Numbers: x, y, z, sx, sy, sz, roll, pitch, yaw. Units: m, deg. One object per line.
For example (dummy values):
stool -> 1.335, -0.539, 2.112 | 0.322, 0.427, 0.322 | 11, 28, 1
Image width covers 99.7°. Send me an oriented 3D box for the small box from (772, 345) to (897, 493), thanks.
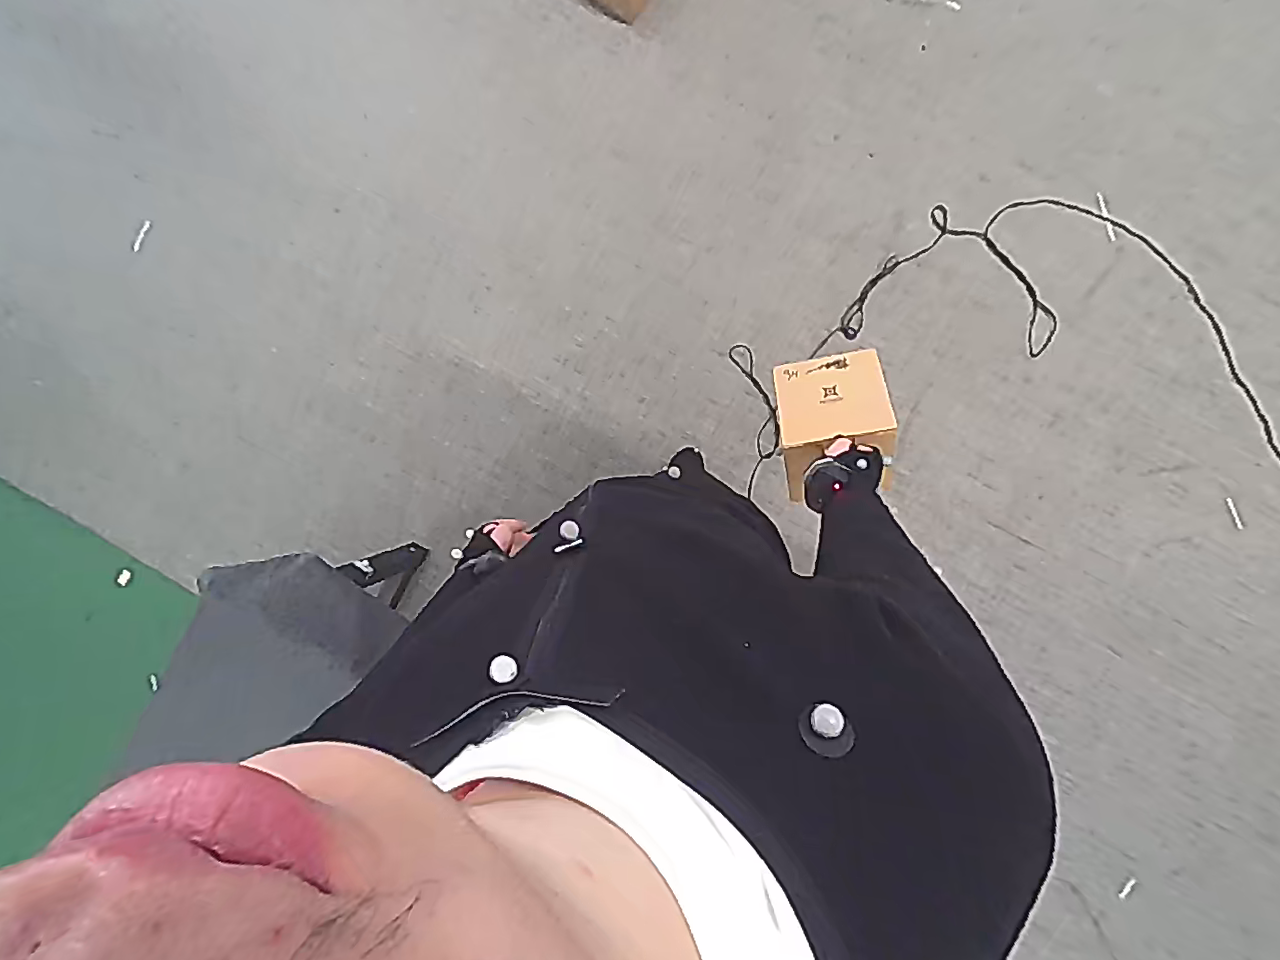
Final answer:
small box -> 0.327, -0.092, 0.913 | 0.168, 0.176, 0.179 | -11, 53, 16
